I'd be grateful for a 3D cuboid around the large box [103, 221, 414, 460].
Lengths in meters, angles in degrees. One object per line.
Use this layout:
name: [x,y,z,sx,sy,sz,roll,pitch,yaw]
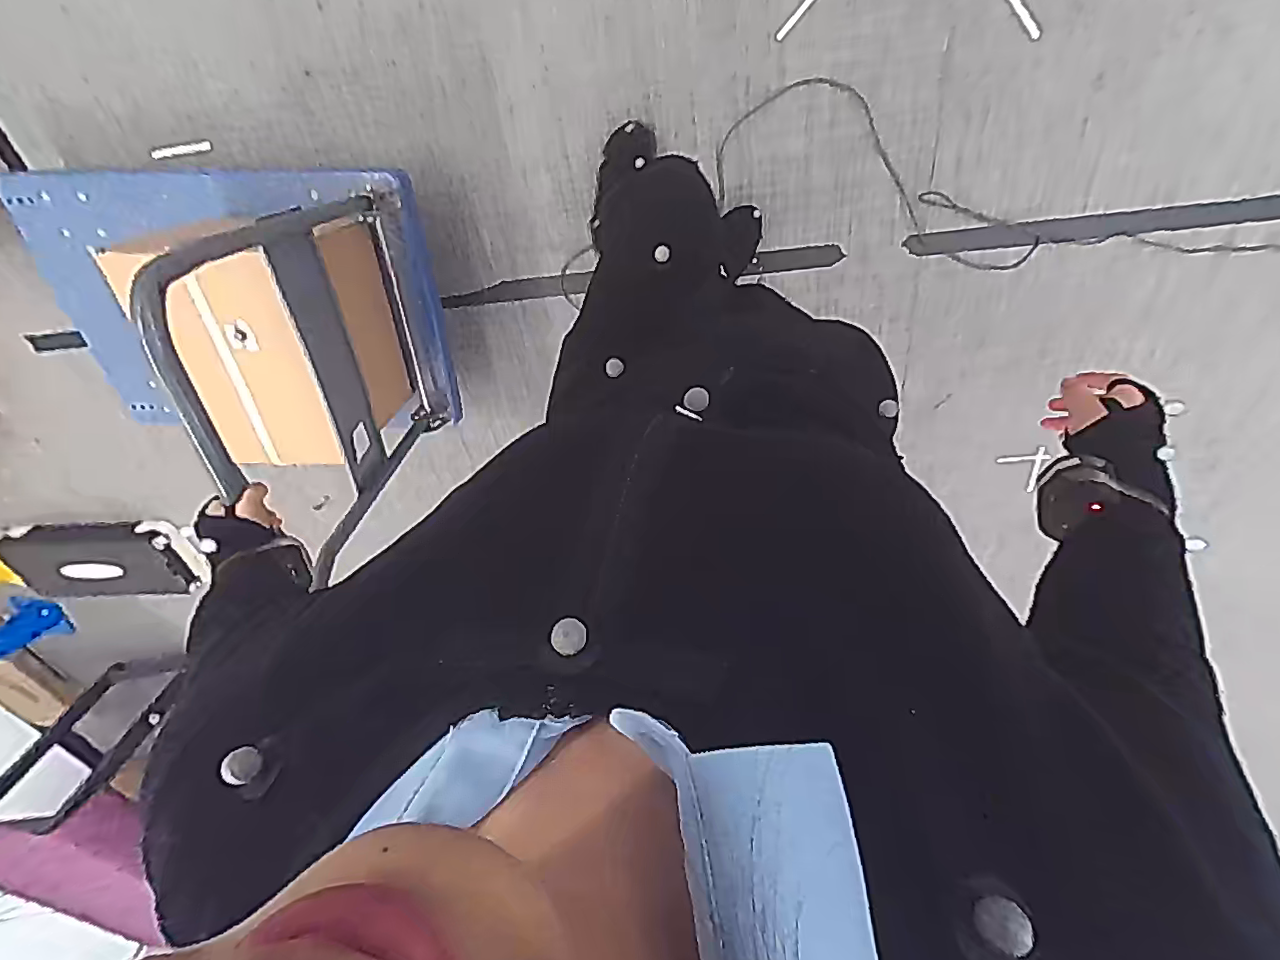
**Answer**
large box: [-0.715,-0.289,1.106,0.320,0.320,0.408,1,124,3]
